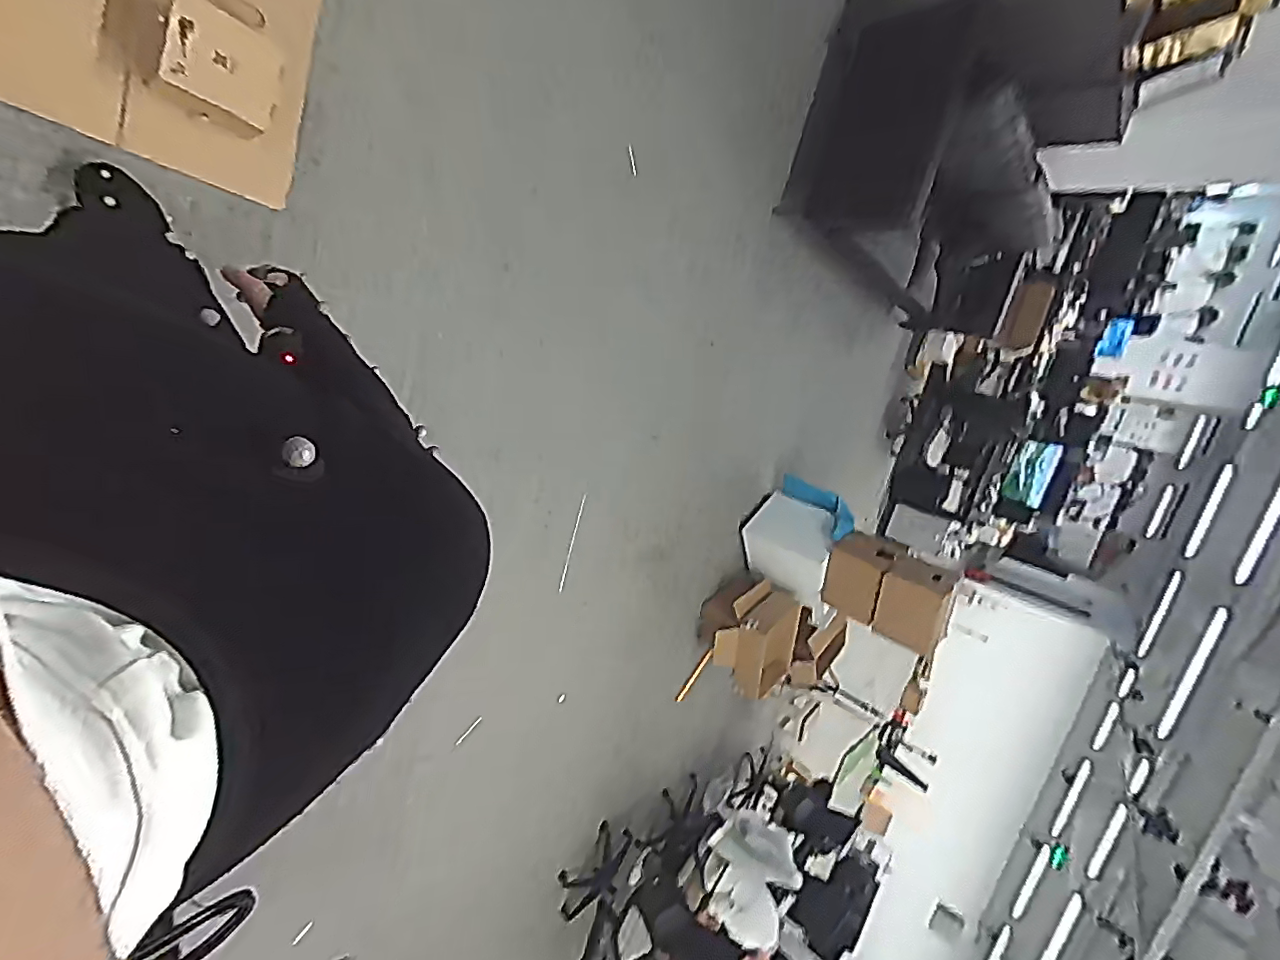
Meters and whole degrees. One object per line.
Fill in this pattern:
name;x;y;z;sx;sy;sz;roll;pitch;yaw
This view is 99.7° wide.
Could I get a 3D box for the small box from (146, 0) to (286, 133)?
small box;-0.856;-0.832;1.091;0.179;0.176;0.168;11;100;-51
